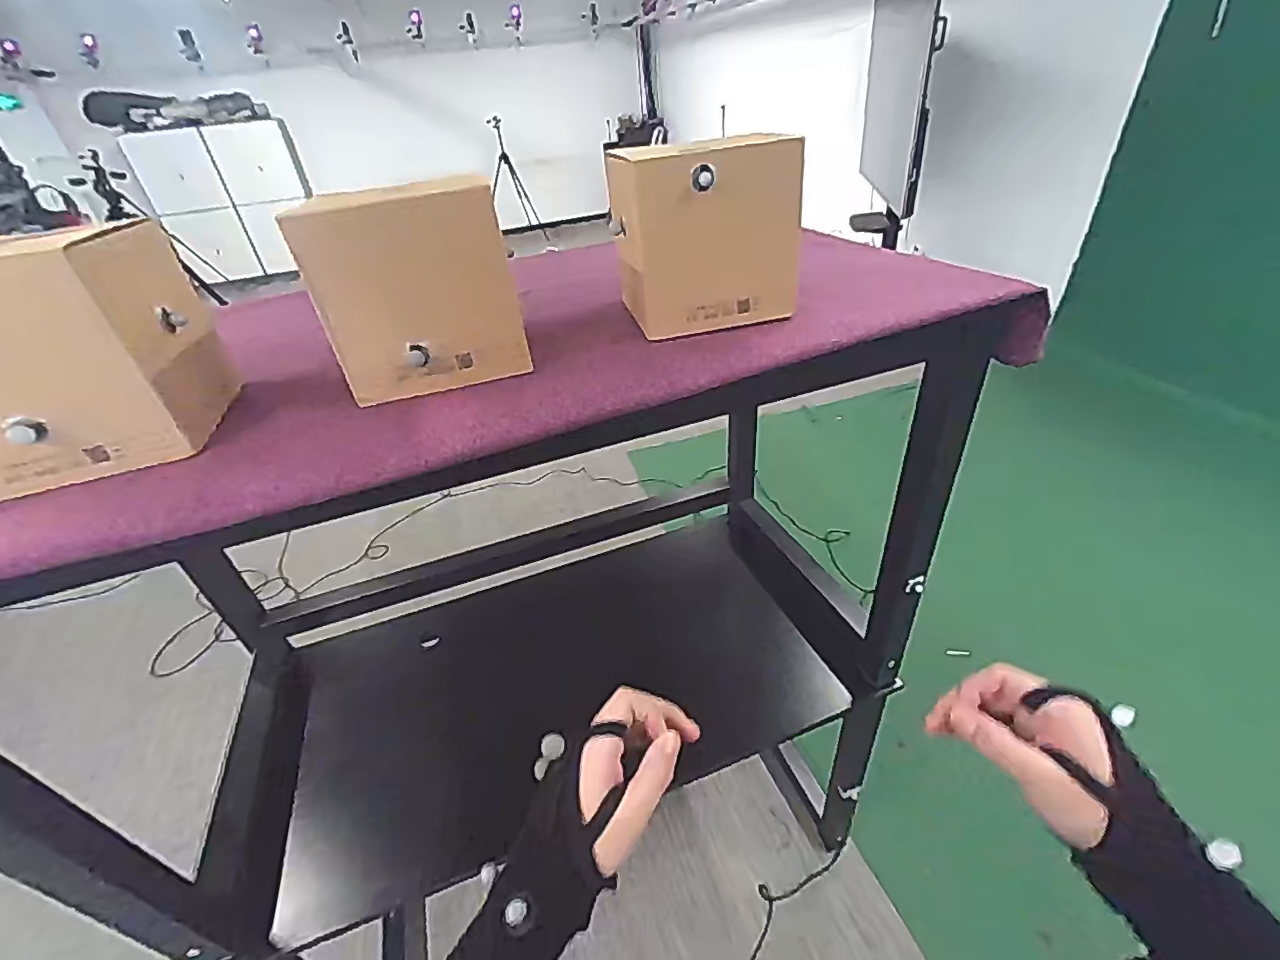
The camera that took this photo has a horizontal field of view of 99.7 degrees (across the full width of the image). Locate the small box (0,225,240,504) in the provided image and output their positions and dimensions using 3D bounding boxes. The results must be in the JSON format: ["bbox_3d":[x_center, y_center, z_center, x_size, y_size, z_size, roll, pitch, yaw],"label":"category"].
[{"bbox_3d":[-0.481,-0.104,0.457,0.168,0.176,0.179,-16,36,-14],"label":"small box"}]

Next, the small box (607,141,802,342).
[{"bbox_3d":[0.063,-0.266,0.599,0.168,0.176,0.179,-12,33,-5],"label":"small box"}]

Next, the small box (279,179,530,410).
[{"bbox_3d":[-0.215,-0.190,0.539,0.168,0.176,0.179,-15,36,-10],"label":"small box"}]
